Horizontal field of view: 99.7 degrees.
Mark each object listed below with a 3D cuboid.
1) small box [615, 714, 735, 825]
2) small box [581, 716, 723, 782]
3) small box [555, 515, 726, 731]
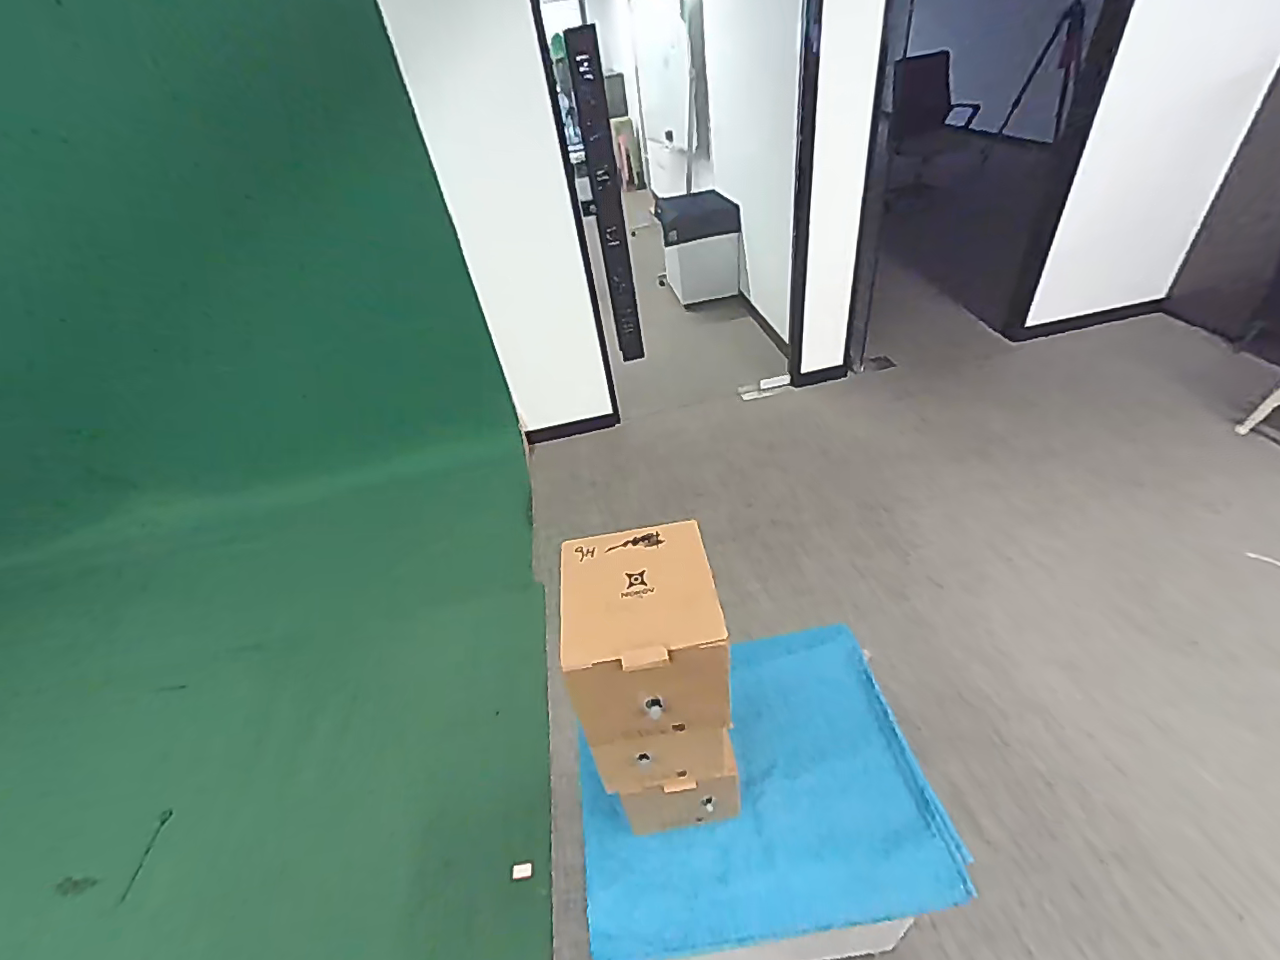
[{"bbox_3d":[0.050,0.410,0.840,0.168,0.176,0.179,-9,39,-1],"label":"small box"},{"bbox_3d":[0.017,0.288,0.737,0.168,0.176,0.179,-8,38,1],"label":"small box"},{"bbox_3d":[0.003,0.169,0.625,0.168,0.176,0.179,-8,39,0],"label":"small box"}]
